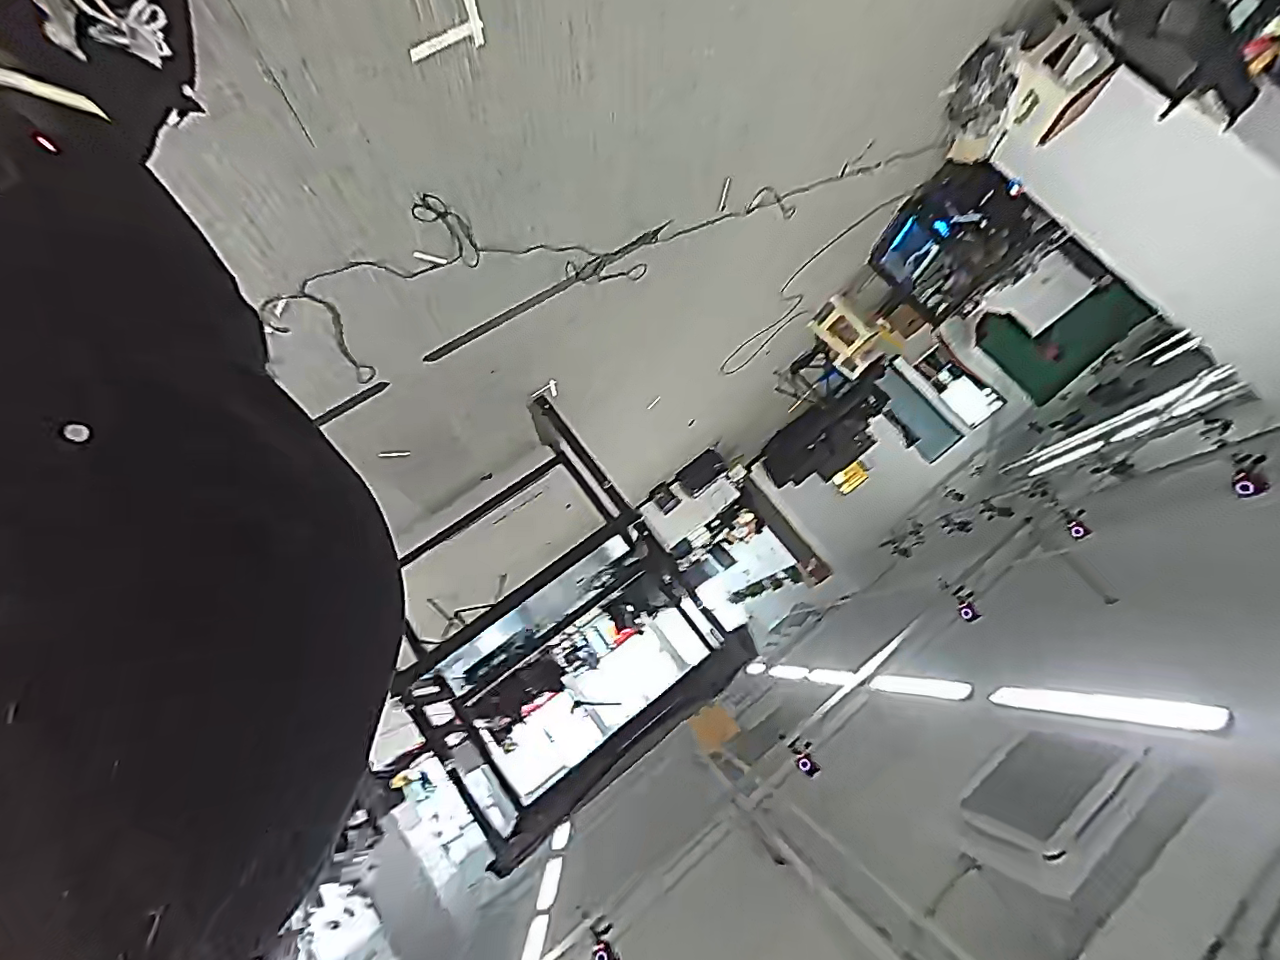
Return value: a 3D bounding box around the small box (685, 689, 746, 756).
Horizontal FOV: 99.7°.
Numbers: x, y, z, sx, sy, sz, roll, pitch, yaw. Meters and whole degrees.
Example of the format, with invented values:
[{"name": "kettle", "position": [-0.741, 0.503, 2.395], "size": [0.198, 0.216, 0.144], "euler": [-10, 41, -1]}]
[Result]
[{"name": "small box", "position": [0.297, 0.974, 2.187], "size": [0.168, 0.176, 0.179], "euler": [-35, 169, -10]}]
